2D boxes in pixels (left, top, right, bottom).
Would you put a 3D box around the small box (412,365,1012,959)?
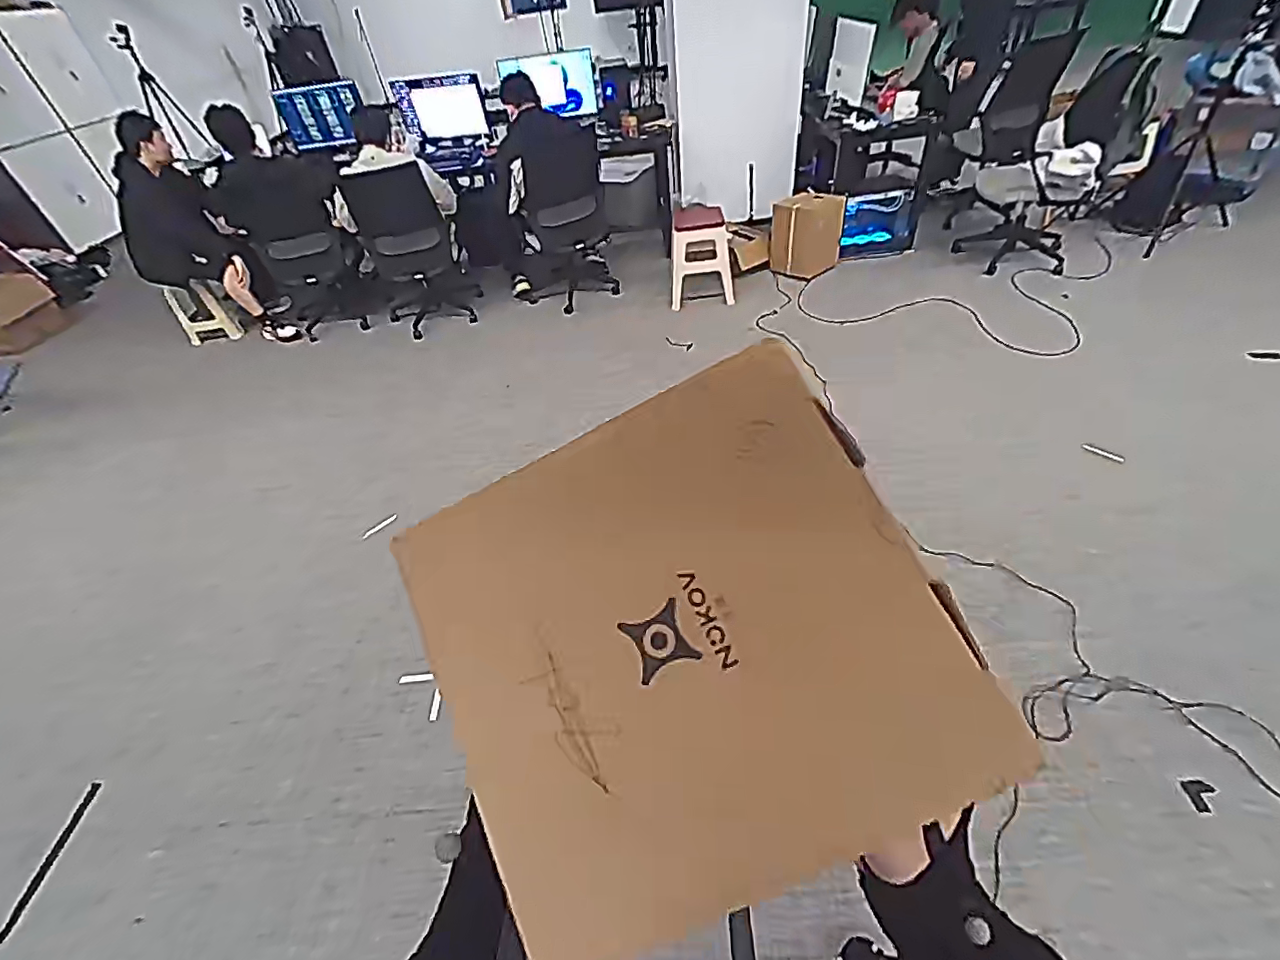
[{"bbox_3d":[0.028,0.078,0.279,0.179,0.176,0.168,-30,73,5],"label":"small box"}]
